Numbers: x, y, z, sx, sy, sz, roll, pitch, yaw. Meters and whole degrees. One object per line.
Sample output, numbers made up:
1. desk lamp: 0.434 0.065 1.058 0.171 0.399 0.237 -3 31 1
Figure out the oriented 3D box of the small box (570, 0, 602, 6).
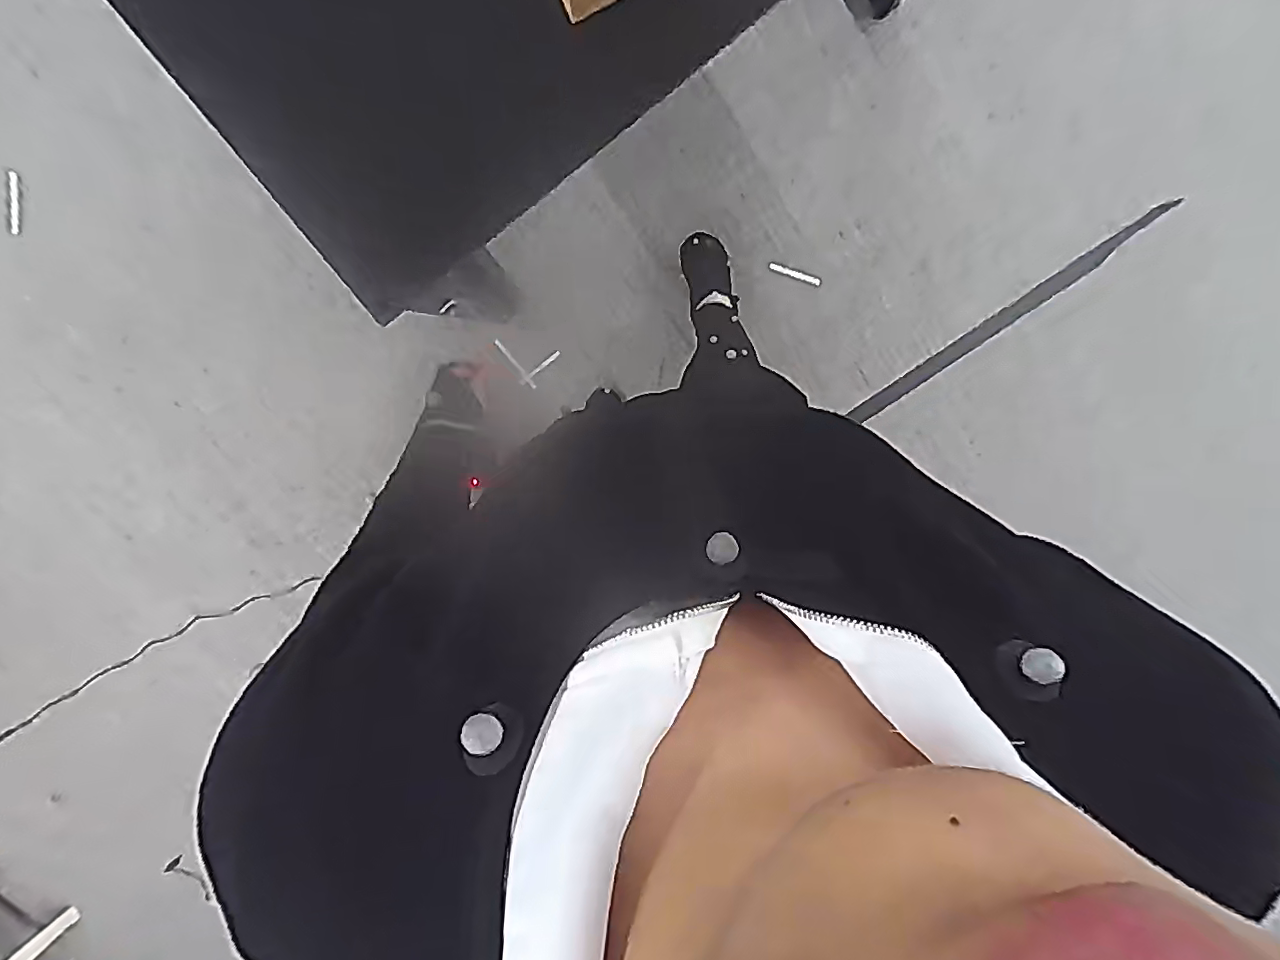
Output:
1. small box: -0.036 -0.604 0.508 0.168 0.176 0.179 -25 103 3
